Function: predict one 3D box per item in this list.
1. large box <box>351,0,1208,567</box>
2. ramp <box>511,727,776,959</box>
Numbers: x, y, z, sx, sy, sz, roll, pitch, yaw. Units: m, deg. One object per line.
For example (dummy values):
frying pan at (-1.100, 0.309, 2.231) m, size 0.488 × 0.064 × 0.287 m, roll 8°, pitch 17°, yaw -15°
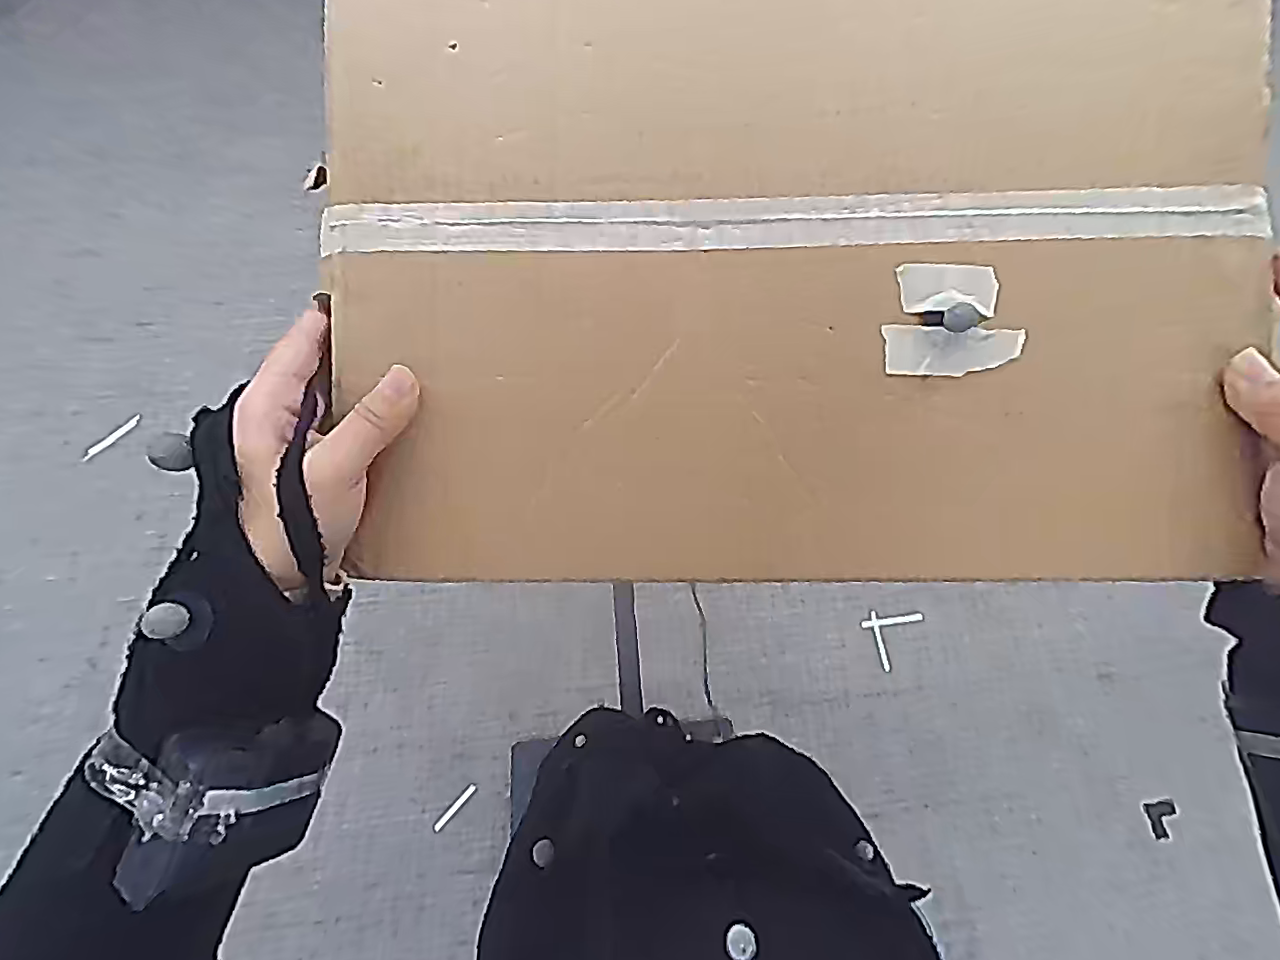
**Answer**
large box at (0.063, -0.118, 0.404) m, size 0.408 × 0.320 × 0.320 m, roll -1°, pitch 91°, yaw 1°
ramp at (0.018, 0.990, 0.930) m, size 0.509 × 0.206 × 0.991 m, roll -7°, pitch 67°, yaw -3°
